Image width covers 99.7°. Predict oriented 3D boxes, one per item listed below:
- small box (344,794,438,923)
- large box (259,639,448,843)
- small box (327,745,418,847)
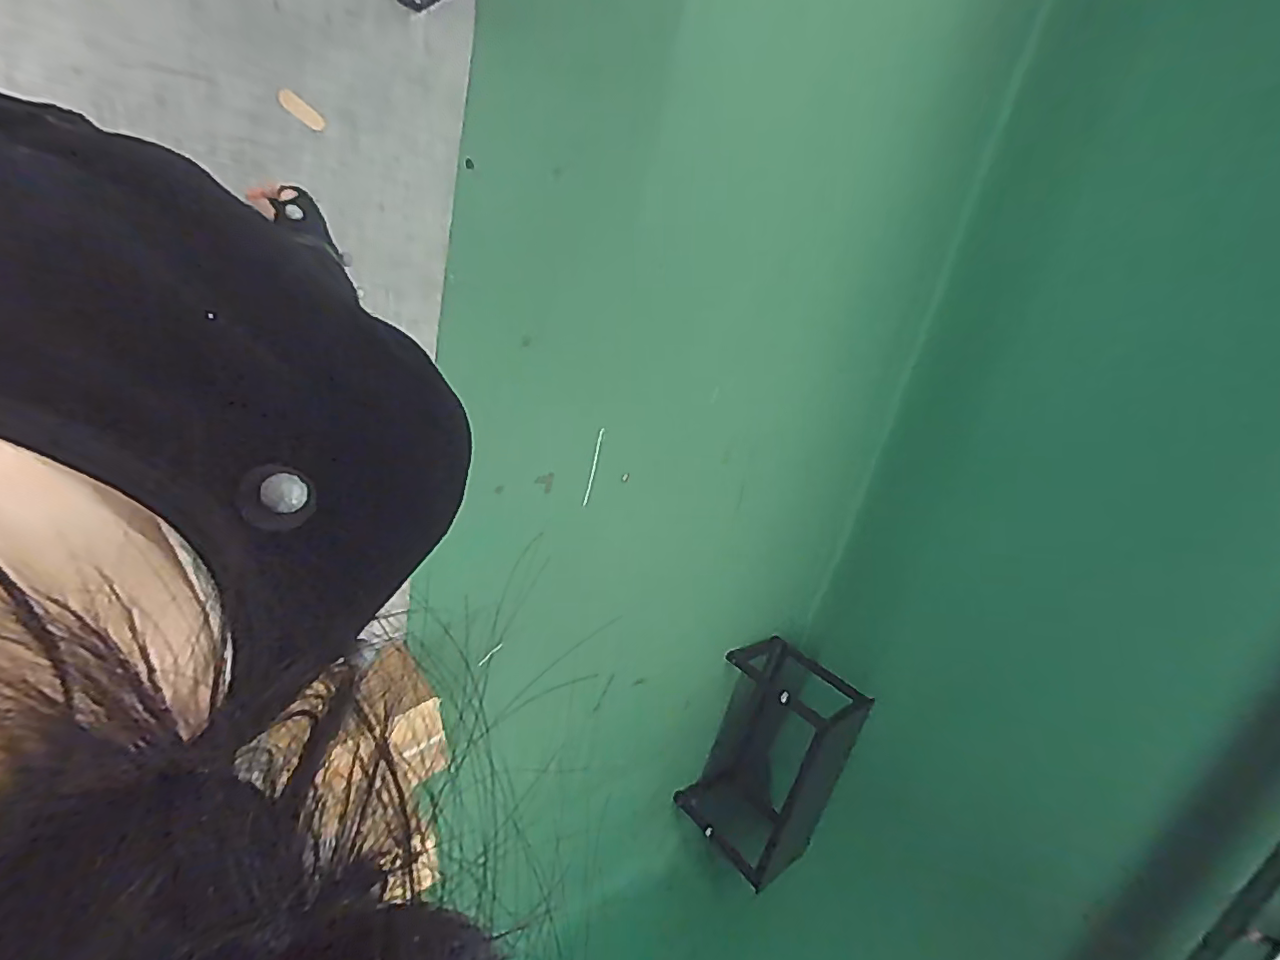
[{"bbox_3d":[-0.620,0.924,1.344,0.168,0.176,0.179,-13,119,-39],"label":"small box"},{"bbox_3d":[-0.855,0.762,1.639,0.408,0.320,0.320,-20,125,-37],"label":"large box"},{"bbox_3d":[-0.717,0.859,1.459,0.179,0.176,0.168,-15,120,-38],"label":"small box"}]
